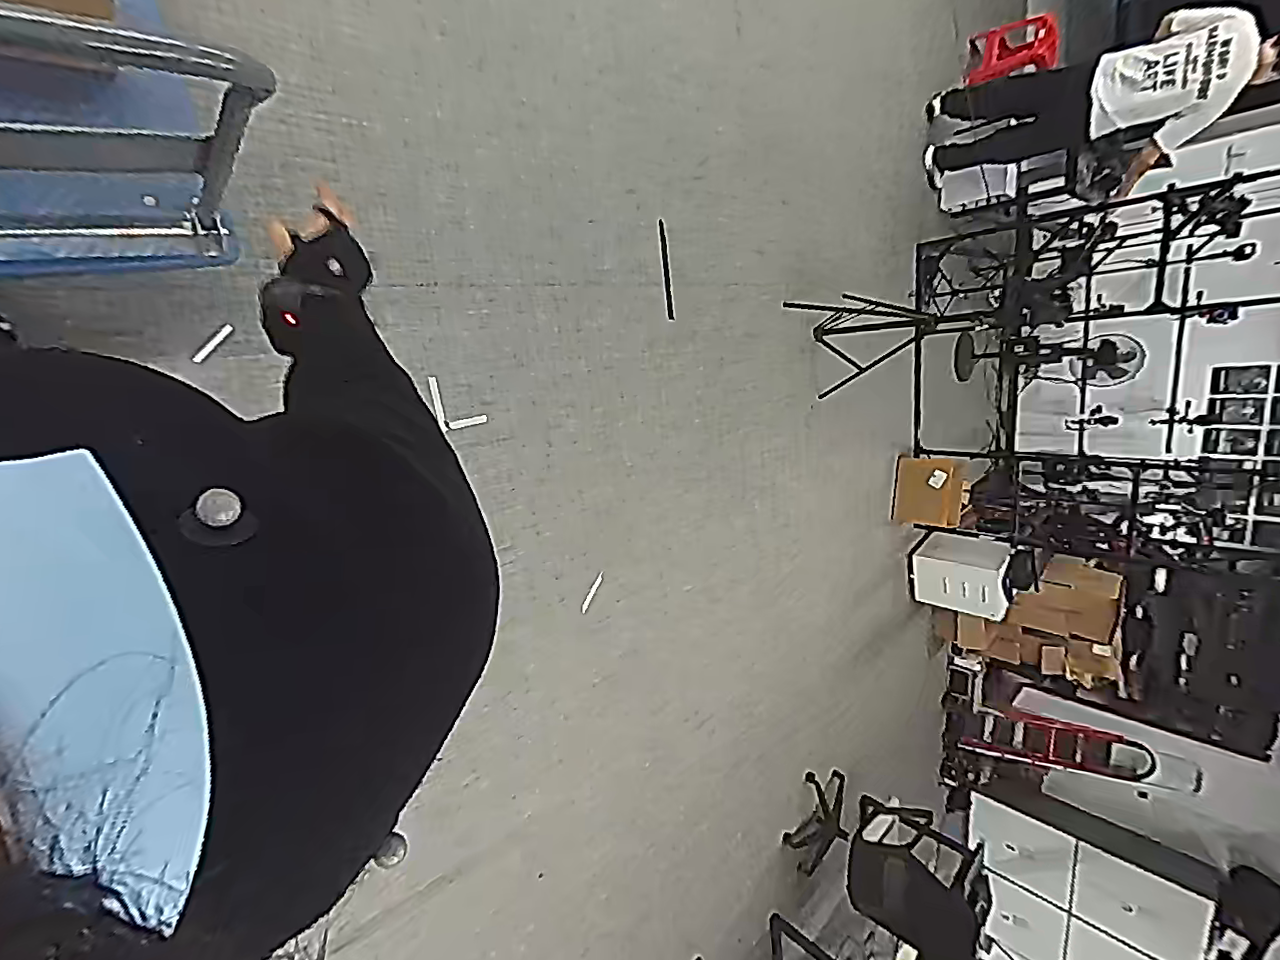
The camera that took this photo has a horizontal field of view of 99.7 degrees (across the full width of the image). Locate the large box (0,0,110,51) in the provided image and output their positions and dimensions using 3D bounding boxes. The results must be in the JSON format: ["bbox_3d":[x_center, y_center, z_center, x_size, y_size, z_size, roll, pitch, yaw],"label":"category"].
[{"bbox_3d":[-0.959,-0.788,0.642,0.408,0.320,0.320,-21,110,-39],"label":"large box"}]
